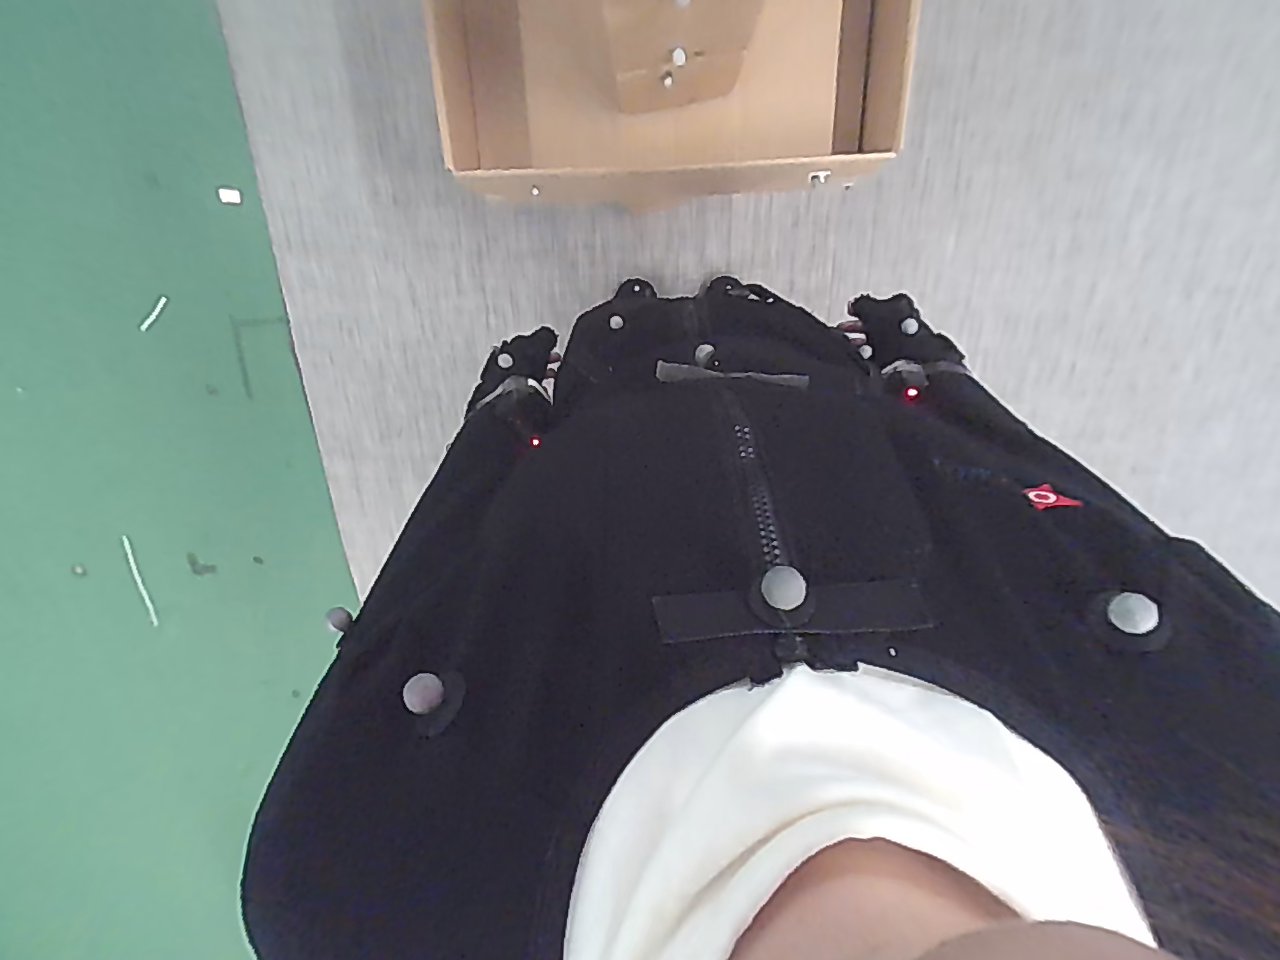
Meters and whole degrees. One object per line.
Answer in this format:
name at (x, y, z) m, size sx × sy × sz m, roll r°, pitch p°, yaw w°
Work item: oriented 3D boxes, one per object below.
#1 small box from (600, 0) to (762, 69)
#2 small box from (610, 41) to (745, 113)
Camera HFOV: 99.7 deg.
small box at (0.035, -0.569, 0.561) m, size 0.168 × 0.176 × 0.179 m, roll -6°, pitch 111°, yaw 5°
small box at (0.041, -0.623, 0.715) m, size 0.168 × 0.176 × 0.179 m, roll -7°, pitch 109°, yaw 6°
